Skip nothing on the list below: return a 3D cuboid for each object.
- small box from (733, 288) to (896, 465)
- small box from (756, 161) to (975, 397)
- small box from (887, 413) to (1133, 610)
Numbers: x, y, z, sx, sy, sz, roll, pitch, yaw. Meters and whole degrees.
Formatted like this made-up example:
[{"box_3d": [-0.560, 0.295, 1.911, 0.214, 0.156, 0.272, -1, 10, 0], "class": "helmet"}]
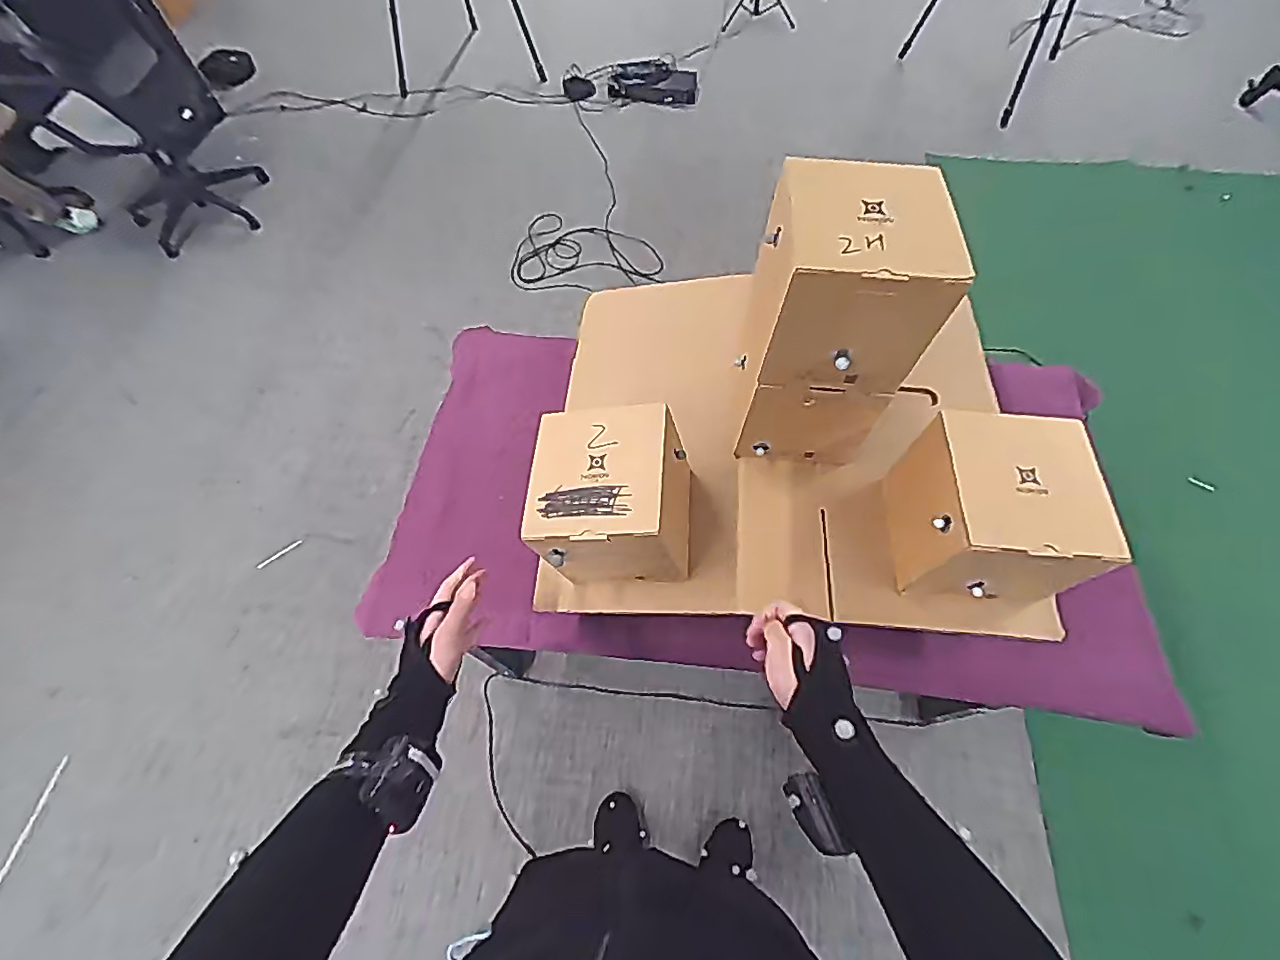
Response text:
[{"box_3d": [0.225, -0.136, 0.744, 0.168, 0.176, 0.179, 4, 61, 1], "class": "small box"}, {"box_3d": [0.228, -0.218, 0.602, 0.168, 0.176, 0.179, 4, 62, 1], "class": "small box"}, {"box_3d": [0.420, 0.043, 0.654, 0.168, 0.176, 0.179, 5, 62, 1], "class": "small box"}]
